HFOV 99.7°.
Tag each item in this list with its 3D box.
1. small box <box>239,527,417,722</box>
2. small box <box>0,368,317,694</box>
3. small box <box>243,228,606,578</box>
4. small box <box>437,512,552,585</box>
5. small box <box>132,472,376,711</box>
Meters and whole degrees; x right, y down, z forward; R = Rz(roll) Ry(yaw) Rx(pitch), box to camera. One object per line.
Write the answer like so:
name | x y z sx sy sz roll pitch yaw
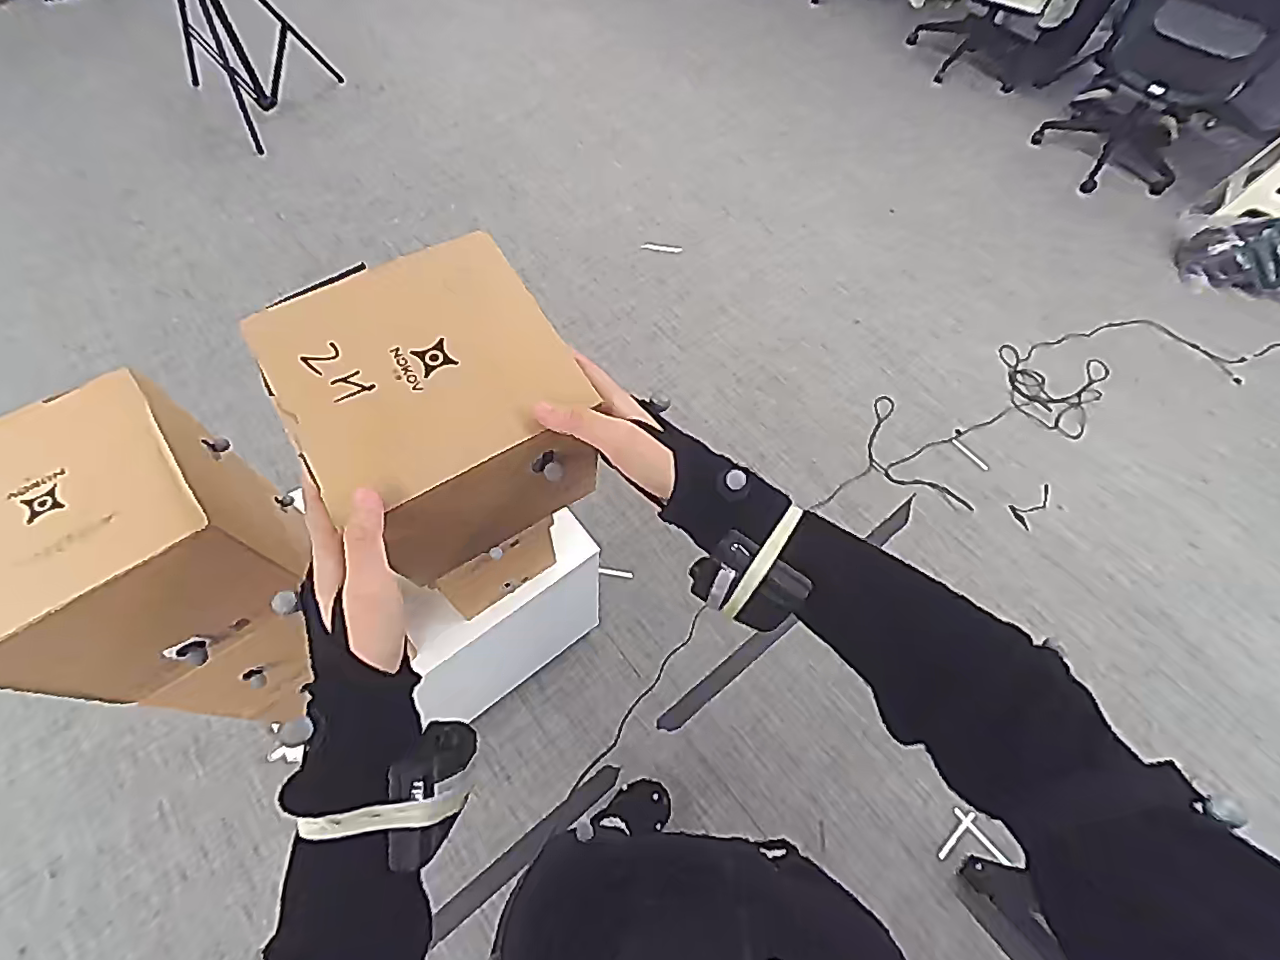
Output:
small box | -0.435 0.201 0.730 0.168 0.176 0.179 -34 69 -19
small box | -0.412 0.050 0.443 0.168 0.176 0.179 -36 71 -19
small box | -0.145 -0.047 0.418 0.179 0.176 0.168 -30 75 -16
small box | -0.224 0.000 0.664 0.168 0.176 0.179 -33 71 -18
small box | -0.422 0.127 0.586 0.168 0.176 0.179 -35 70 -20
